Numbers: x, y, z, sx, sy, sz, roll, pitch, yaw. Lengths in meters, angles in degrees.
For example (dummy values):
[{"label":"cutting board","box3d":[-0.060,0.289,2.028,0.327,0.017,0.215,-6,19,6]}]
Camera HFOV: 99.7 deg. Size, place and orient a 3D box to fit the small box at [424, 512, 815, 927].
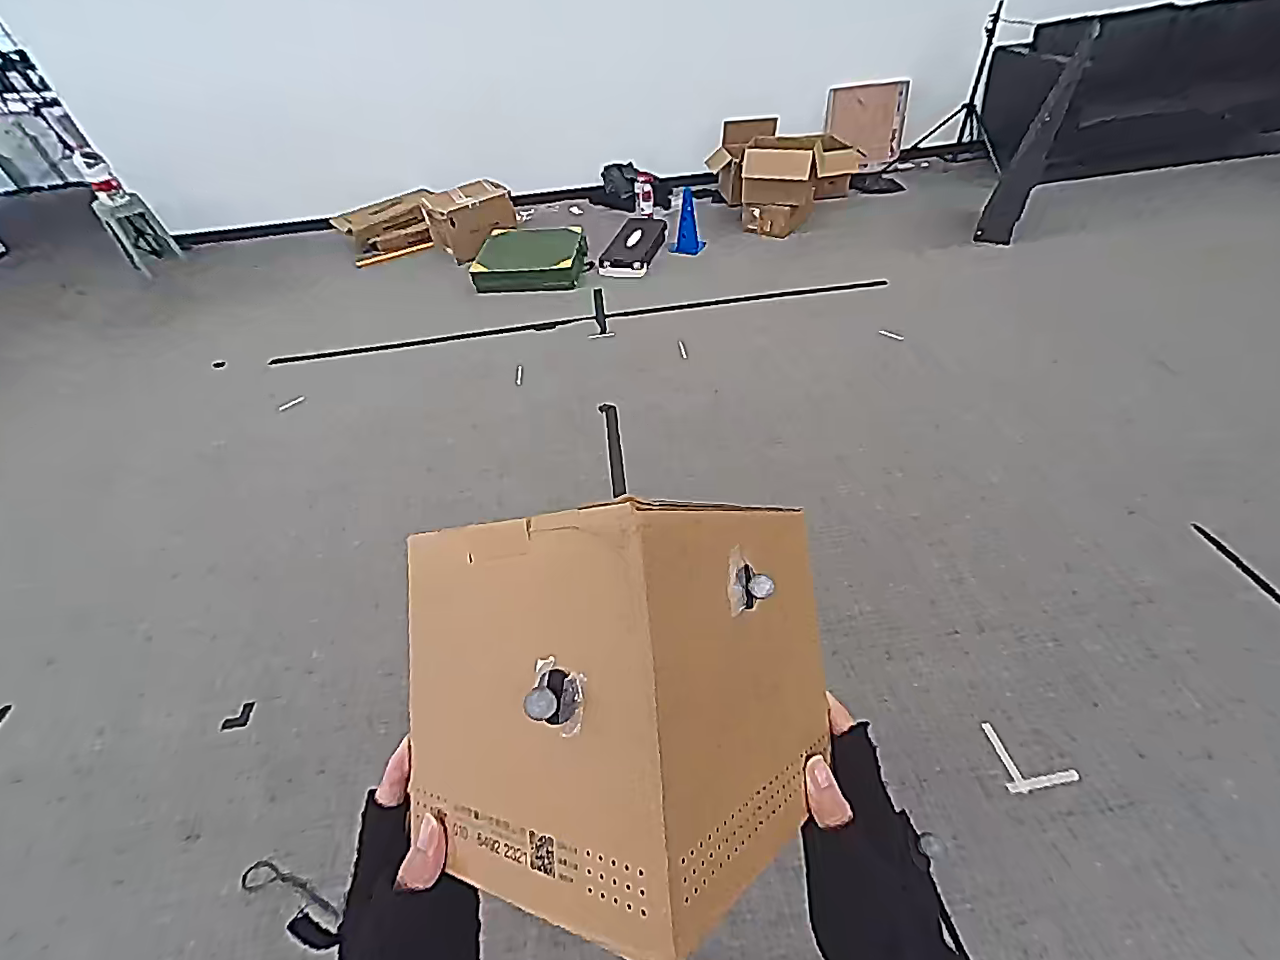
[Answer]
[{"label":"small box","box3d":[-0.006,0.114,0.327,0.168,0.179,0.176,-10,80,37]}]
